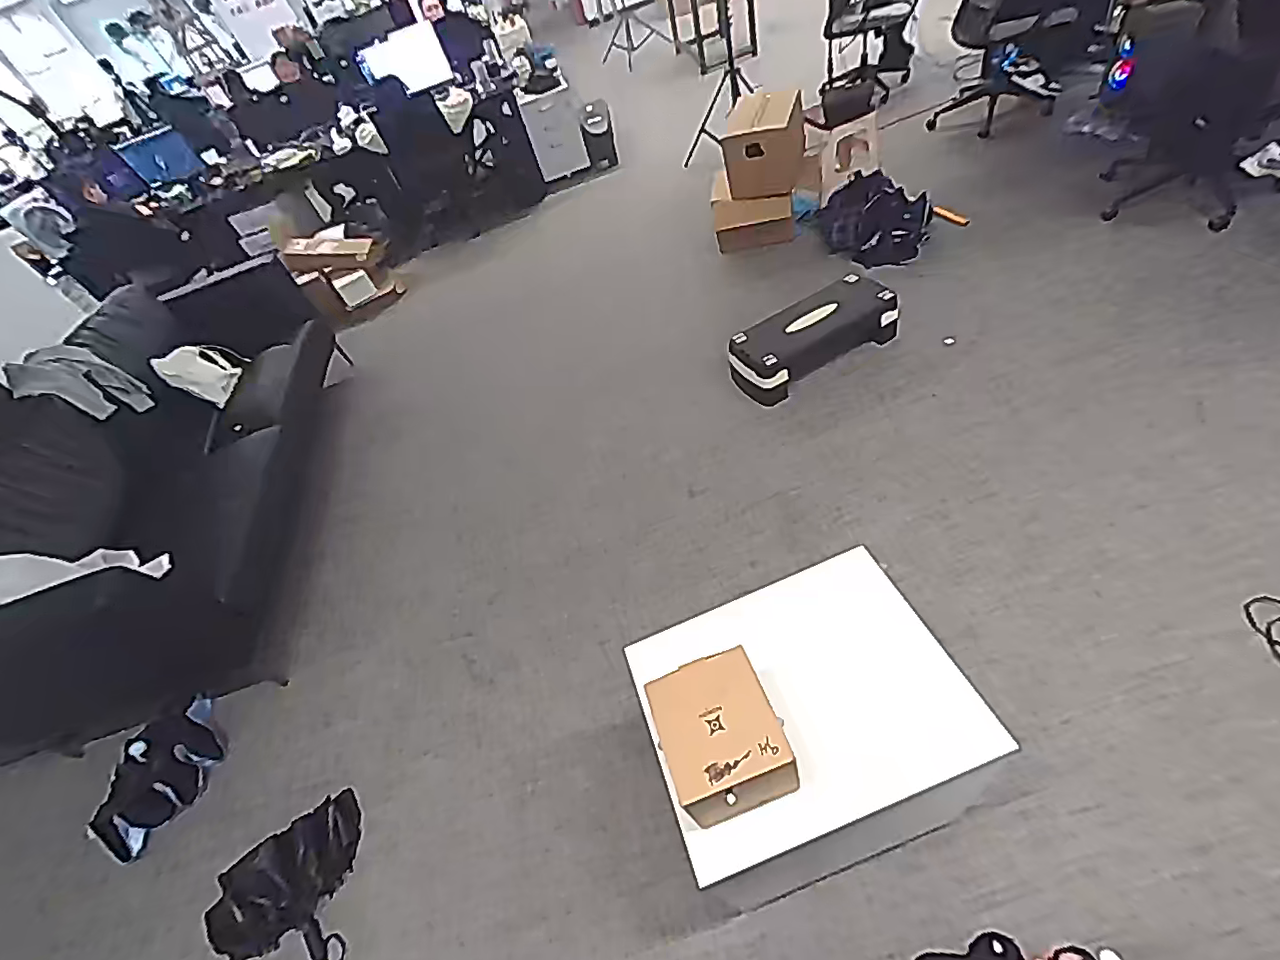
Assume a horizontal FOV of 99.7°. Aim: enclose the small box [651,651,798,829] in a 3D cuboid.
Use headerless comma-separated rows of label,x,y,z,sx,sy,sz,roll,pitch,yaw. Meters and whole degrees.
small box,0.124,0.396,0.823,0.168,0.176,0.179,-17,46,-3
